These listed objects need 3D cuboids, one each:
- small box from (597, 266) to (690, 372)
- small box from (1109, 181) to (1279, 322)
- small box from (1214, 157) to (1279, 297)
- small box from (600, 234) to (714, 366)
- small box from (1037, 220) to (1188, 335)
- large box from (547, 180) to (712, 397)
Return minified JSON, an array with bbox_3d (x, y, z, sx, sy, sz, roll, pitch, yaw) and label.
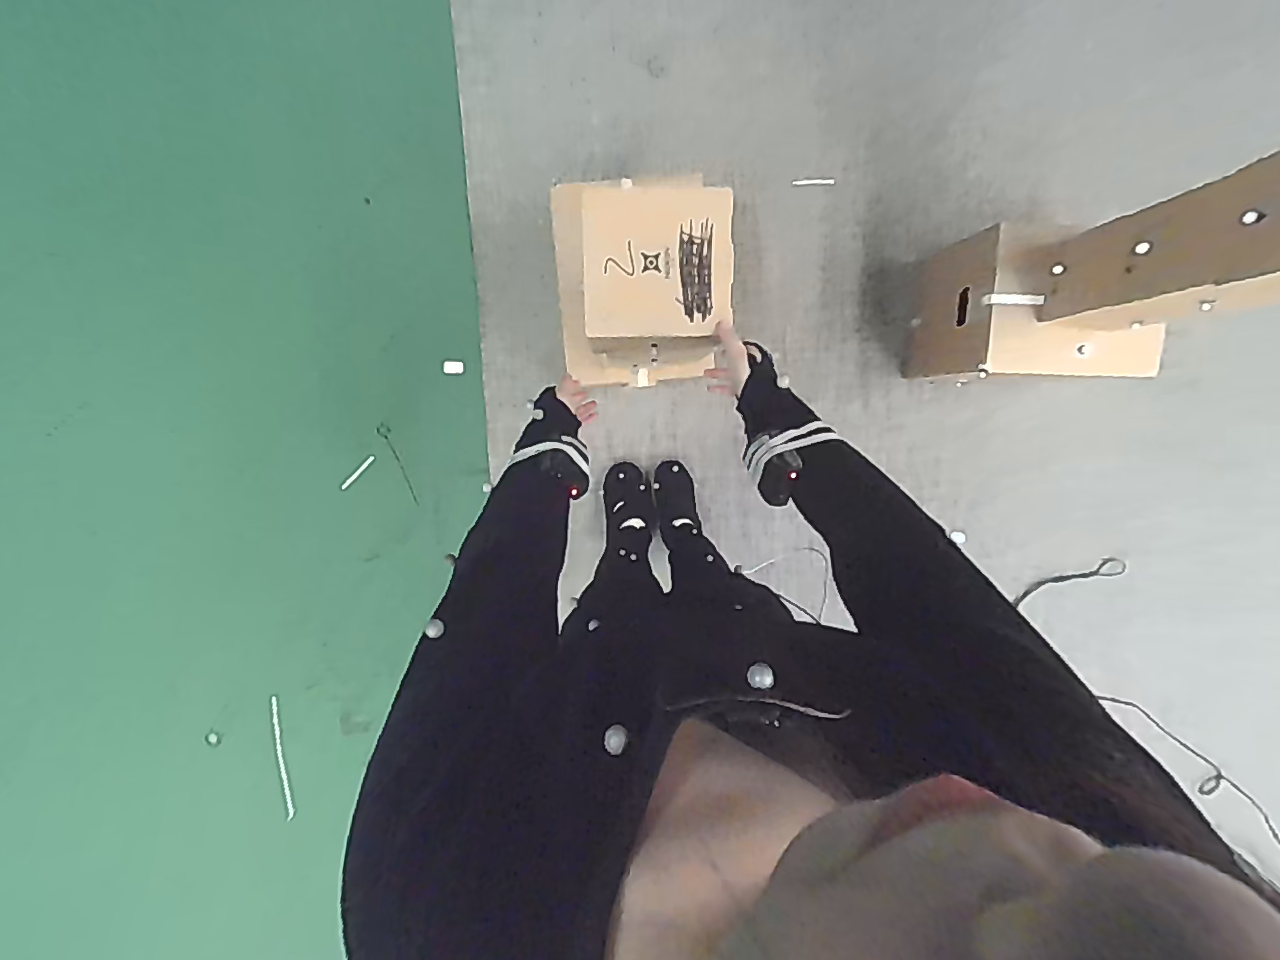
[{"bbox_3d":[0.007,-0.298,1.029,0.168,0.176,0.179,-3,96,-2],"label":"small box"},{"bbox_3d":[0.953,-0.369,0.905,0.179,0.176,0.168,6,94,-3],"label":"small box"},{"bbox_3d":[0.961,-0.356,0.742,0.168,0.176,0.179,5,95,-4],"label":"small box"},{"bbox_3d":[0.023,-0.276,0.866,0.168,0.176,0.179,-3,97,-3],"label":"small box"},{"bbox_3d":[0.942,-0.389,1.068,0.179,0.176,0.168,5,95,-4],"label":"small box"},{"bbox_3d":[-0.023,-0.413,1.258,0.320,0.320,0.408,-5,96,-3],"label":"large box"}]
